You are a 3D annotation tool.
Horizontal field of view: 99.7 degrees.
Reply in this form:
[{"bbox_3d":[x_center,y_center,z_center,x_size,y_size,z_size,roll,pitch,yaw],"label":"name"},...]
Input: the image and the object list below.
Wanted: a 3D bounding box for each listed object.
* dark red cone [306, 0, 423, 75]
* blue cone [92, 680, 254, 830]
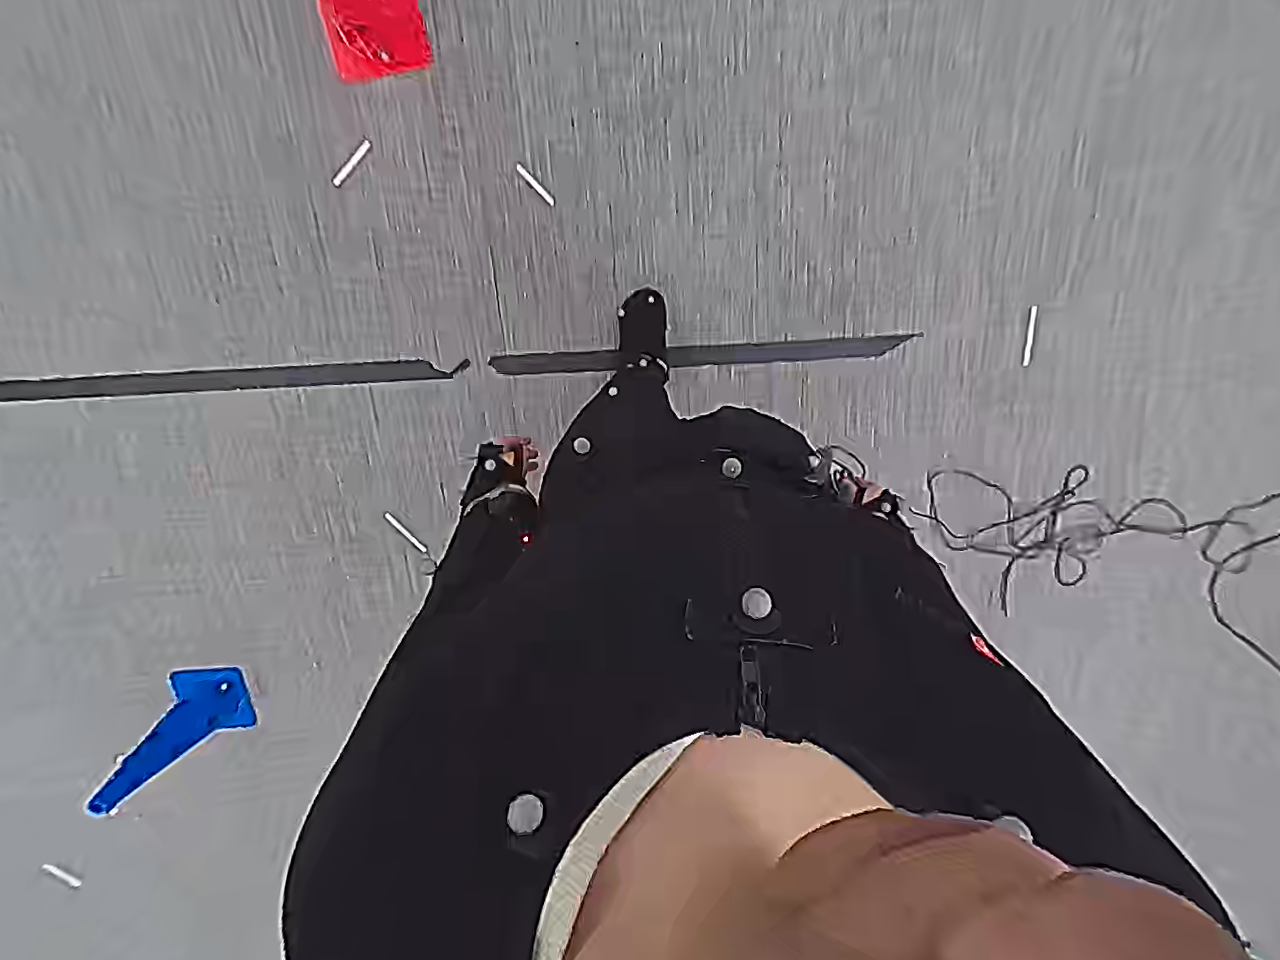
[{"bbox_3d":[-0.540,-0.873,0.902,0.202,0.394,0.201,-11,107,2],"label":"dark red cone"},{"bbox_3d":[-1.196,0.694,1.364,0.193,0.380,0.192,-3,107,0],"label":"blue cone"}]
